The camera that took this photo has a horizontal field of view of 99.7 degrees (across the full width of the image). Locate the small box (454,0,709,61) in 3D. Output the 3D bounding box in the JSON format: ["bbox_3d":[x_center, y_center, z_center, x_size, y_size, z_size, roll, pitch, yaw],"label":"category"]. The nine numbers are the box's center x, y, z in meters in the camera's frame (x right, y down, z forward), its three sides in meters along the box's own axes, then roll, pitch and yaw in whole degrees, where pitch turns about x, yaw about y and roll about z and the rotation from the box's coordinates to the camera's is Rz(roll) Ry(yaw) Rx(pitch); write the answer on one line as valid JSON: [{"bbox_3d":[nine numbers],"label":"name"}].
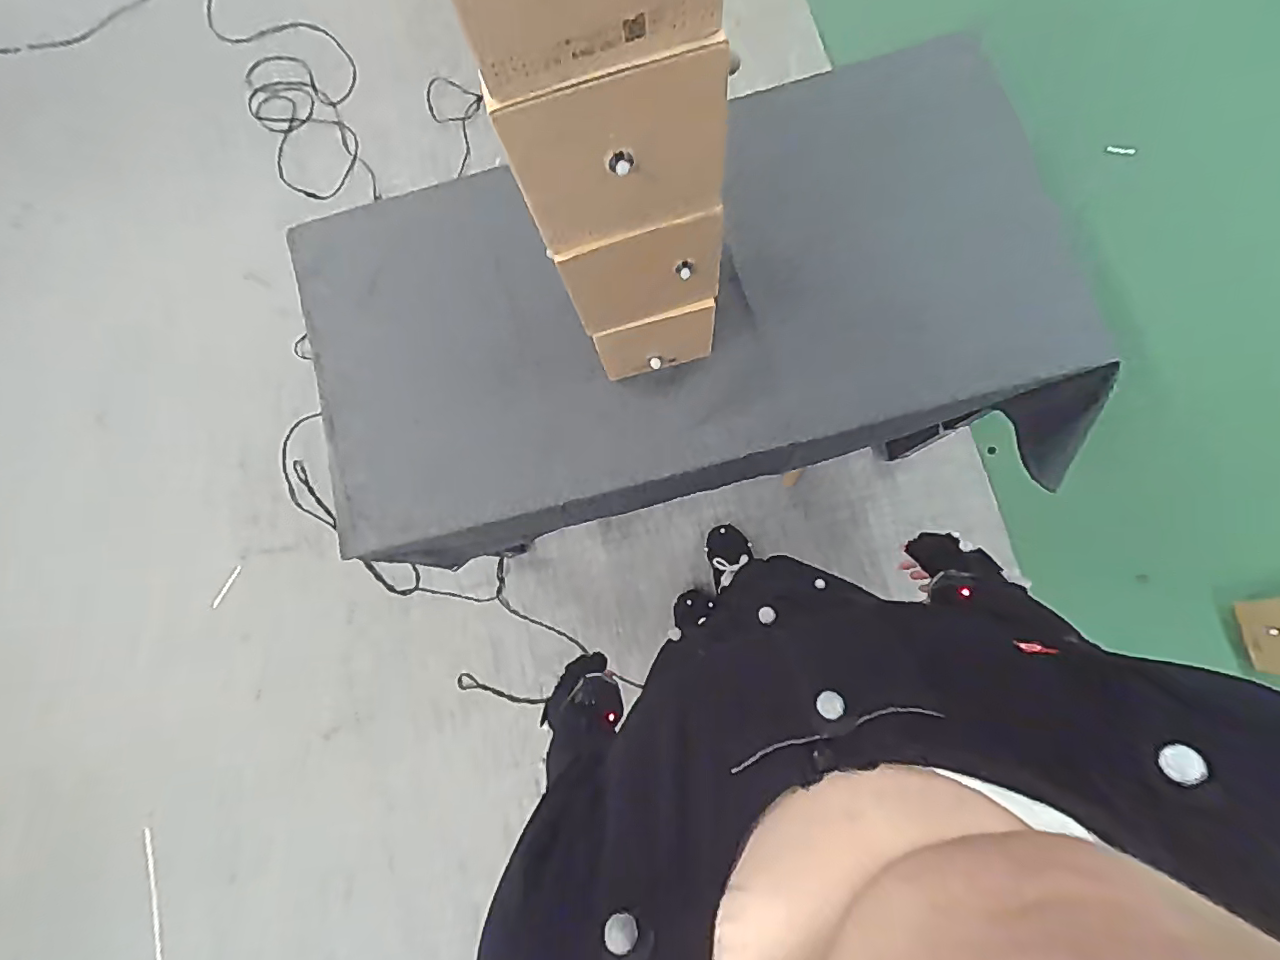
[{"bbox_3d":[-0.055,-0.384,0.304,0.168,0.176,0.179,-15,78,3],"label":"small box"}]

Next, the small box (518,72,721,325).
[{"bbox_3d":[-0.017,-0.305,0.619,0.179,0.176,0.168,-16,78,3],"label":"small box"}]

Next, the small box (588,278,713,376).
[{"bbox_3d":[0.002,-0.274,0.778,0.168,0.176,0.179,-14,79,3],"label":"small box"}]

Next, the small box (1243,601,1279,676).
[{"bbox_3d":[1.583,0.372,1.260,0.179,0.176,0.168,-9,79,3],"label":"small box"}]
